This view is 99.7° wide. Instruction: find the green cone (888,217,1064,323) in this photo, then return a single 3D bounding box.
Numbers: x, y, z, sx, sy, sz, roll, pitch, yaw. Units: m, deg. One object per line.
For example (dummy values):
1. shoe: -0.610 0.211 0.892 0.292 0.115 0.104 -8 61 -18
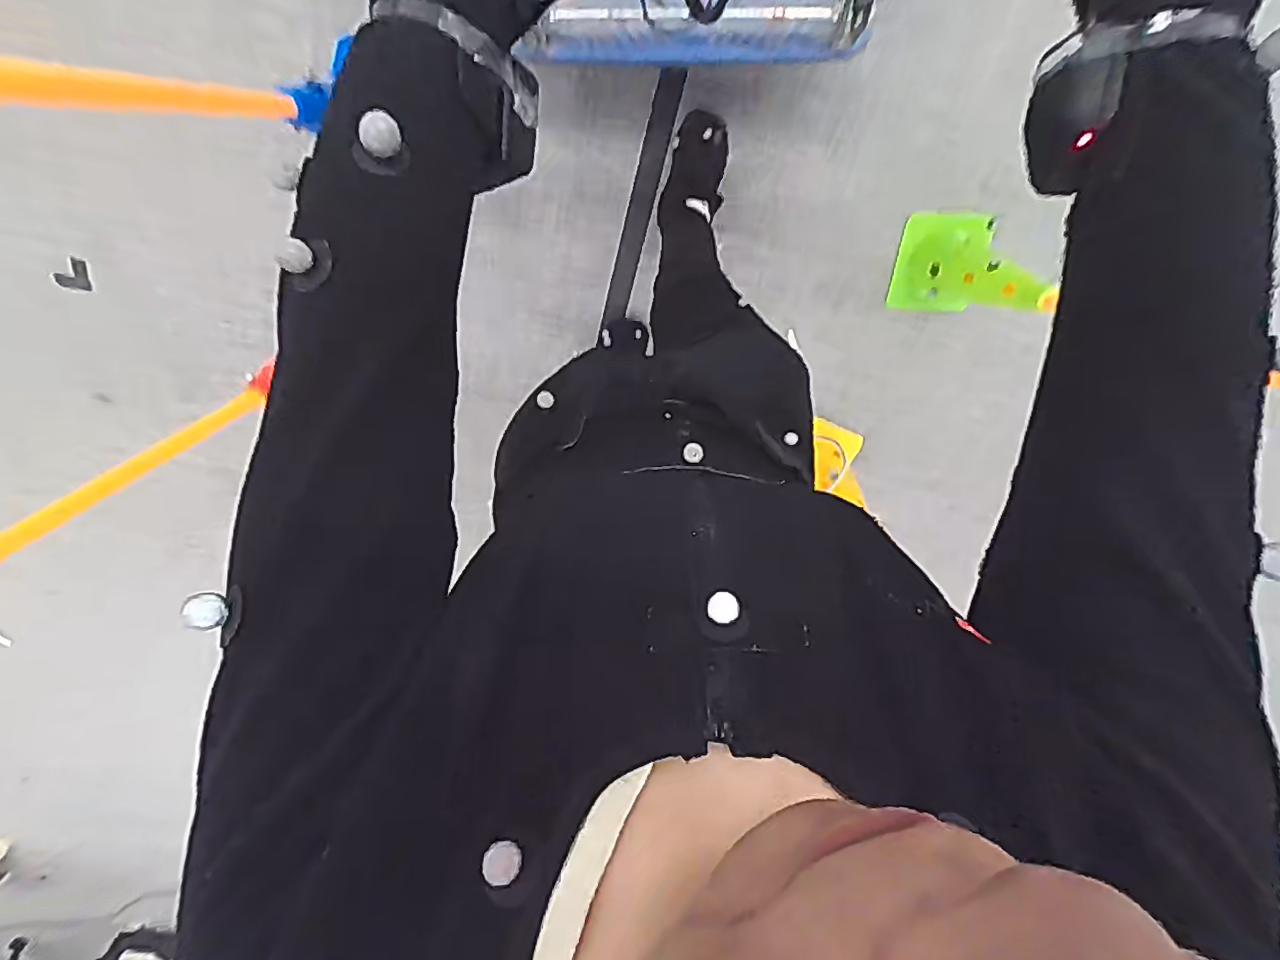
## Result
1. green cone: 0.669 -0.377 1.043 0.200 0.368 0.202 0 122 -3
